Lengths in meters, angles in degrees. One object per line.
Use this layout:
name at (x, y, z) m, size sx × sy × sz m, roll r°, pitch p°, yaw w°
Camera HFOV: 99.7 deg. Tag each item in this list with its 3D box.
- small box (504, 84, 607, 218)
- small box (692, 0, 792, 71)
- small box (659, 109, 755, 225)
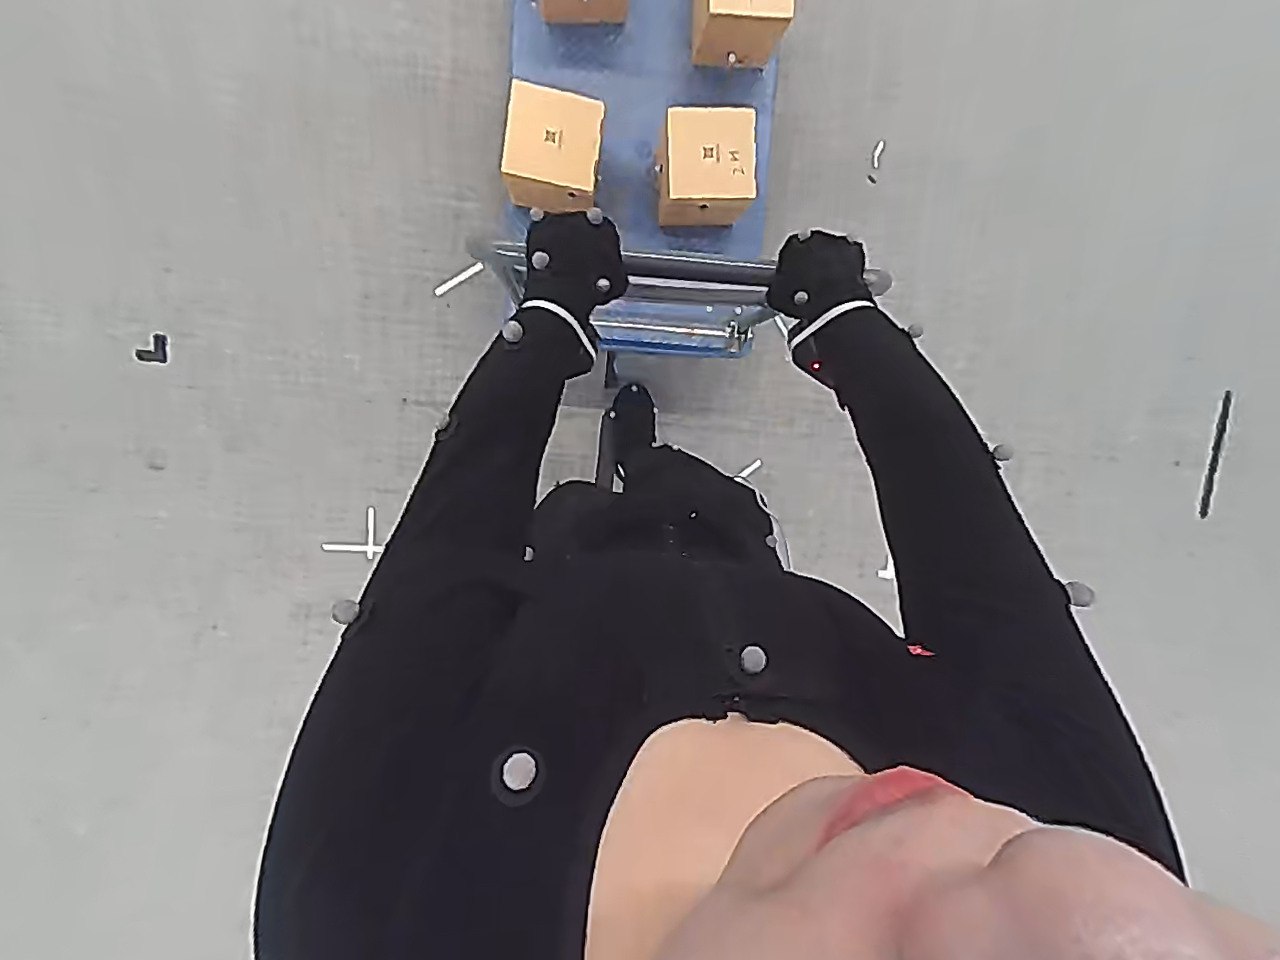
small box at (-0.170, -0.658, 1.105) m, size 0.179 × 0.176 × 0.168 m, roll 8°, pitch 97°, yaw -9°
small box at (0.202, -0.978, 1.095) m, size 0.168 × 0.176 × 0.179 m, roll -1°, pitch 100°, yaw -6°
small box at (0.134, -0.649, 1.138) m, size 0.179 × 0.176 × 0.168 m, roll -3°, pitch 99°, yaw -5°
